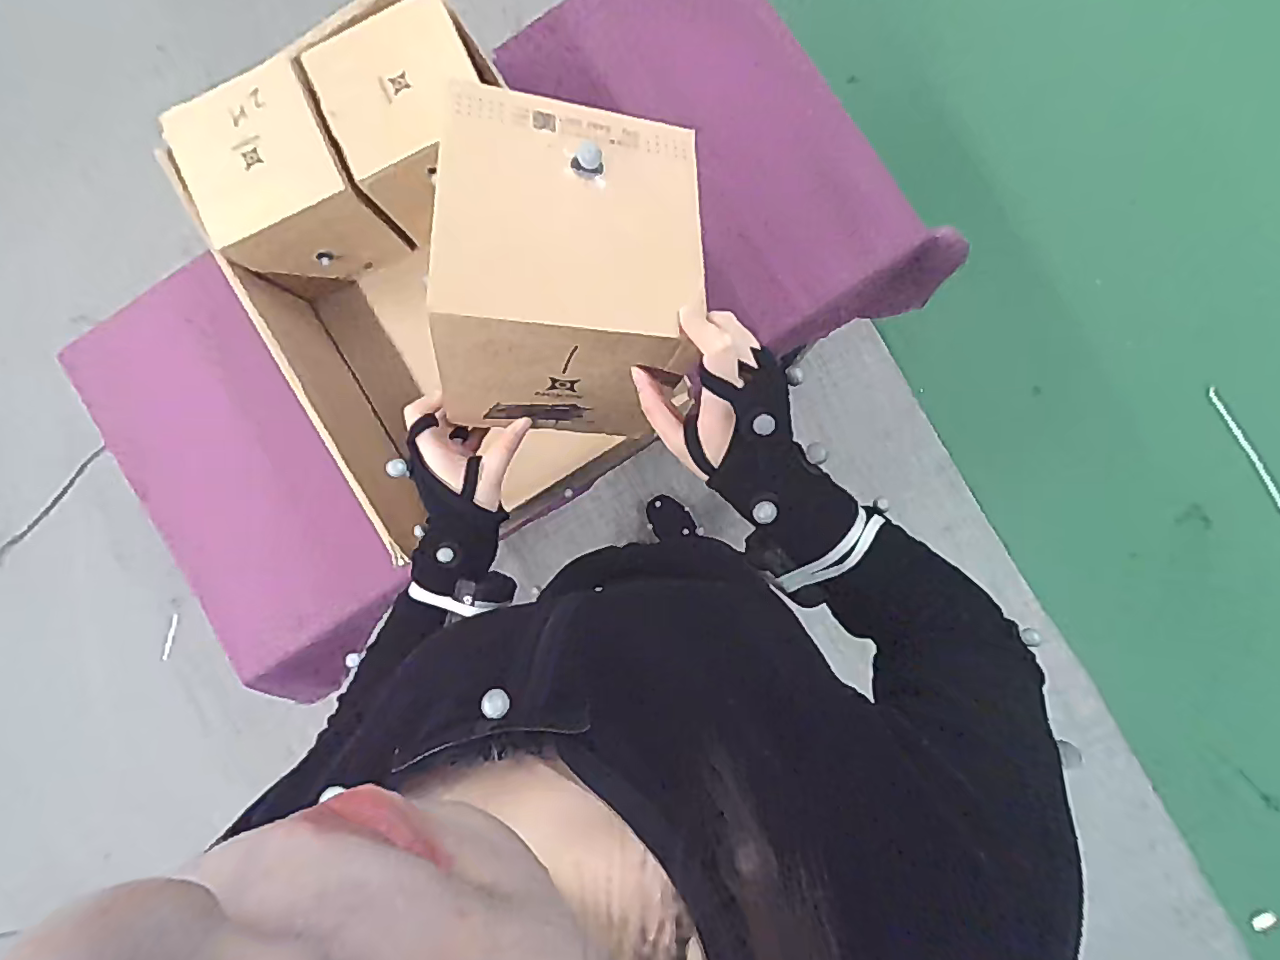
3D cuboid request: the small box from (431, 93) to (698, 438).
[{"bbox_3d":[-0.062,-0.145,0.423,0.168,0.179,0.176,2,73,-14],"label":"small box"}]
